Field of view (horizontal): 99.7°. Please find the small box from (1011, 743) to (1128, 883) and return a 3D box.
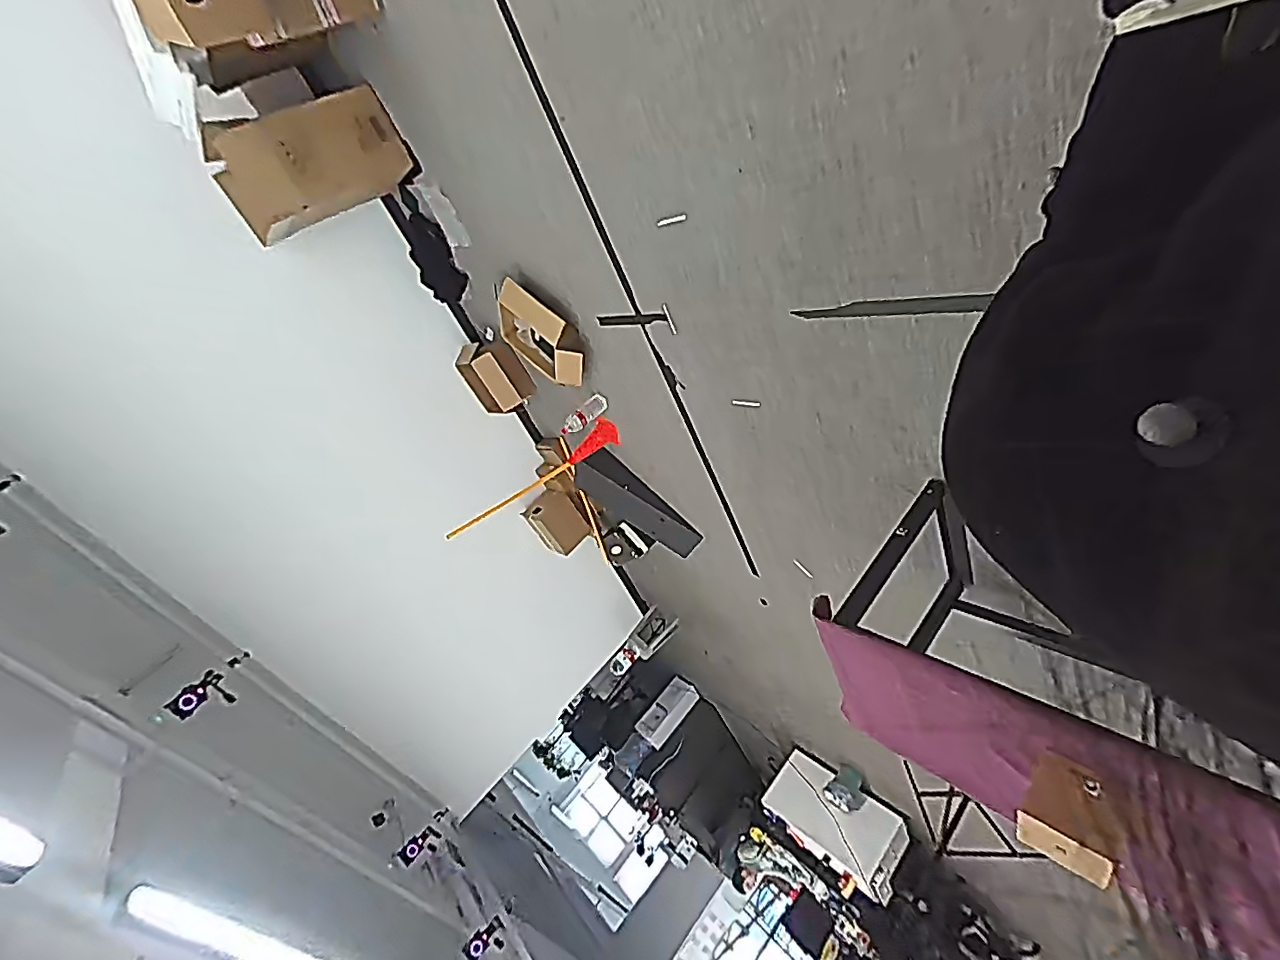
[{"bbox_3d":[0.946,0.729,1.196,0.168,0.176,0.179,17,143,46],"label":"small box"}]
